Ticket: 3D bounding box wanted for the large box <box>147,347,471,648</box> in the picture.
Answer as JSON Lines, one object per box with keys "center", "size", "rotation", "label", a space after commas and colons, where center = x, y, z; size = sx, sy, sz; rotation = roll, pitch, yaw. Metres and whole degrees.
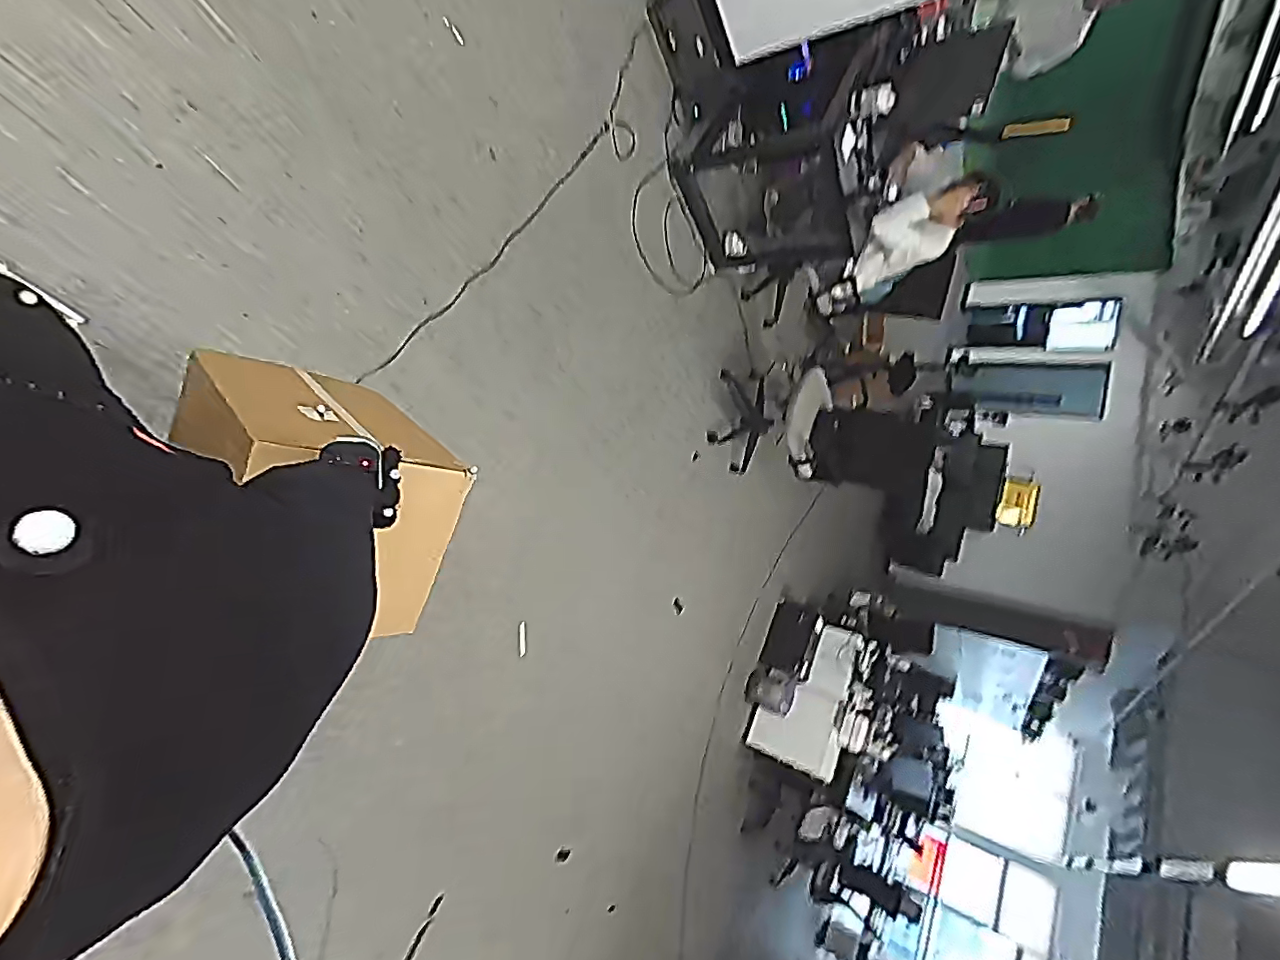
{"center": [-0.569, 0.020, 0.918], "size": [0.320, 0.408, 0.320], "rotation": [8, 110, -52], "label": "large box"}
